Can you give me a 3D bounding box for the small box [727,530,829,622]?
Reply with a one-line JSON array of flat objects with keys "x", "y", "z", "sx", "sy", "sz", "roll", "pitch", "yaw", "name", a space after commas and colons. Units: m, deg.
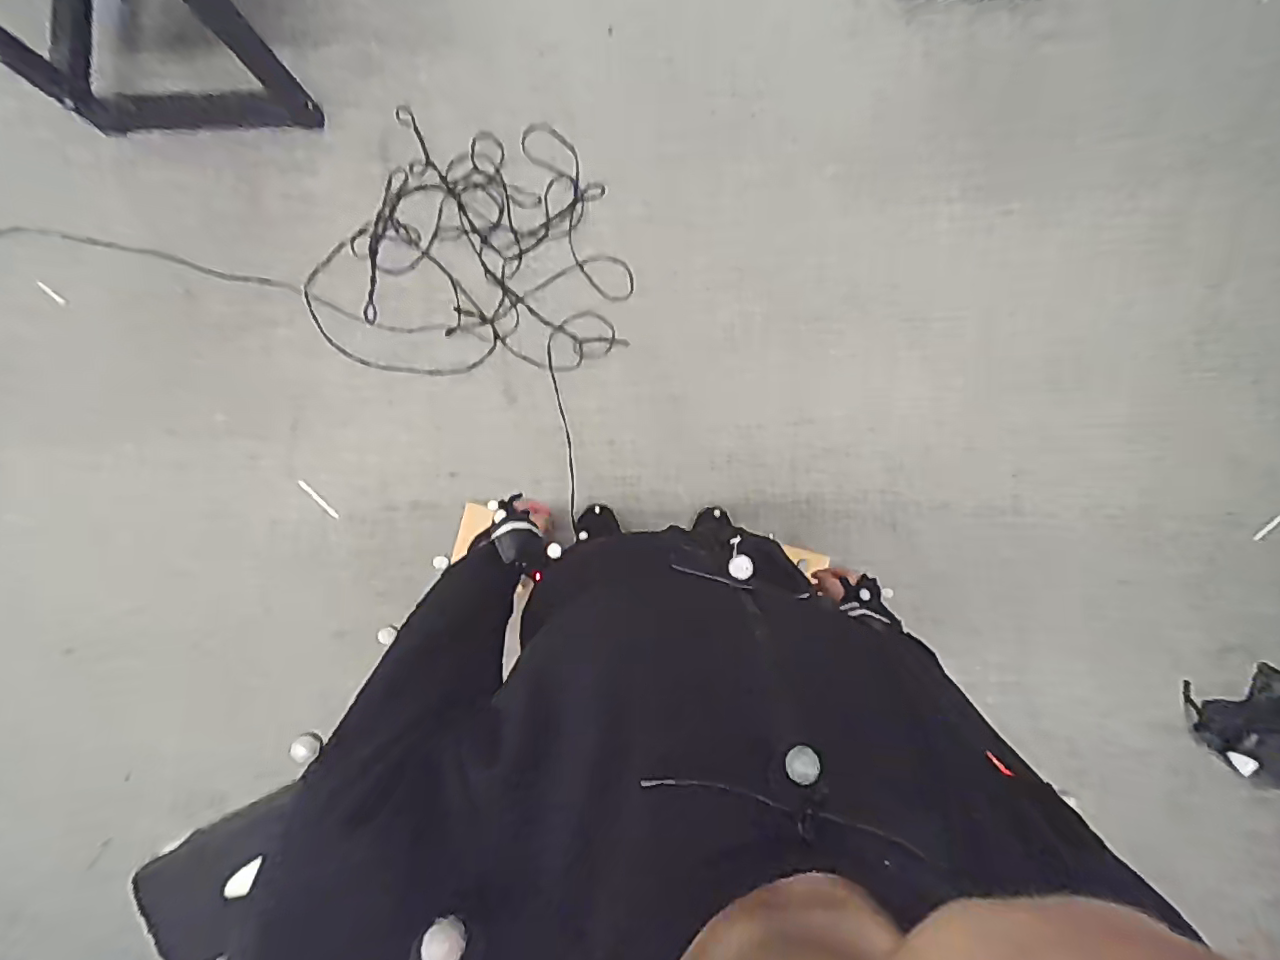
[{"x": 0.320, "y": 0.220, "z": 1.289, "sx": 0.179, "sy": 0.176, "sz": 0.168, "roll": 15, "pitch": 90, "yaw": 1, "name": "small box"}]
